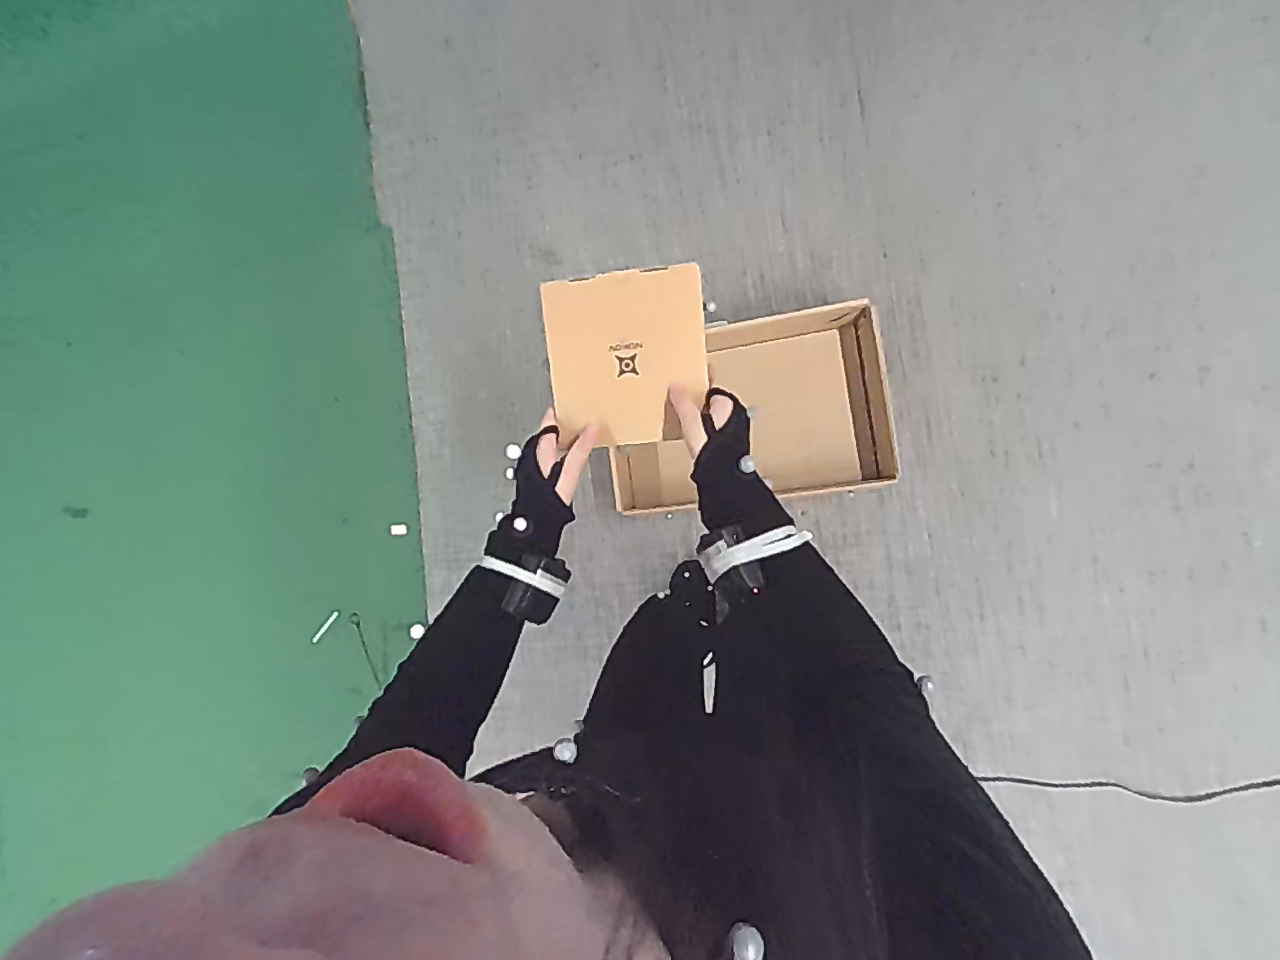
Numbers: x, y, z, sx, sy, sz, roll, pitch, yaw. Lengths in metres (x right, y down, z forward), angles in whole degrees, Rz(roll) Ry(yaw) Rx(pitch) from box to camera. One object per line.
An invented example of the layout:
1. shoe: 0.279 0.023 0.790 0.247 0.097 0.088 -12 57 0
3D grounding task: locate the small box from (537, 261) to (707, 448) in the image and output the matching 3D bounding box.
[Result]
1. small box: -0.008 -0.138 0.627 0.168 0.176 0.179 -4 99 7
